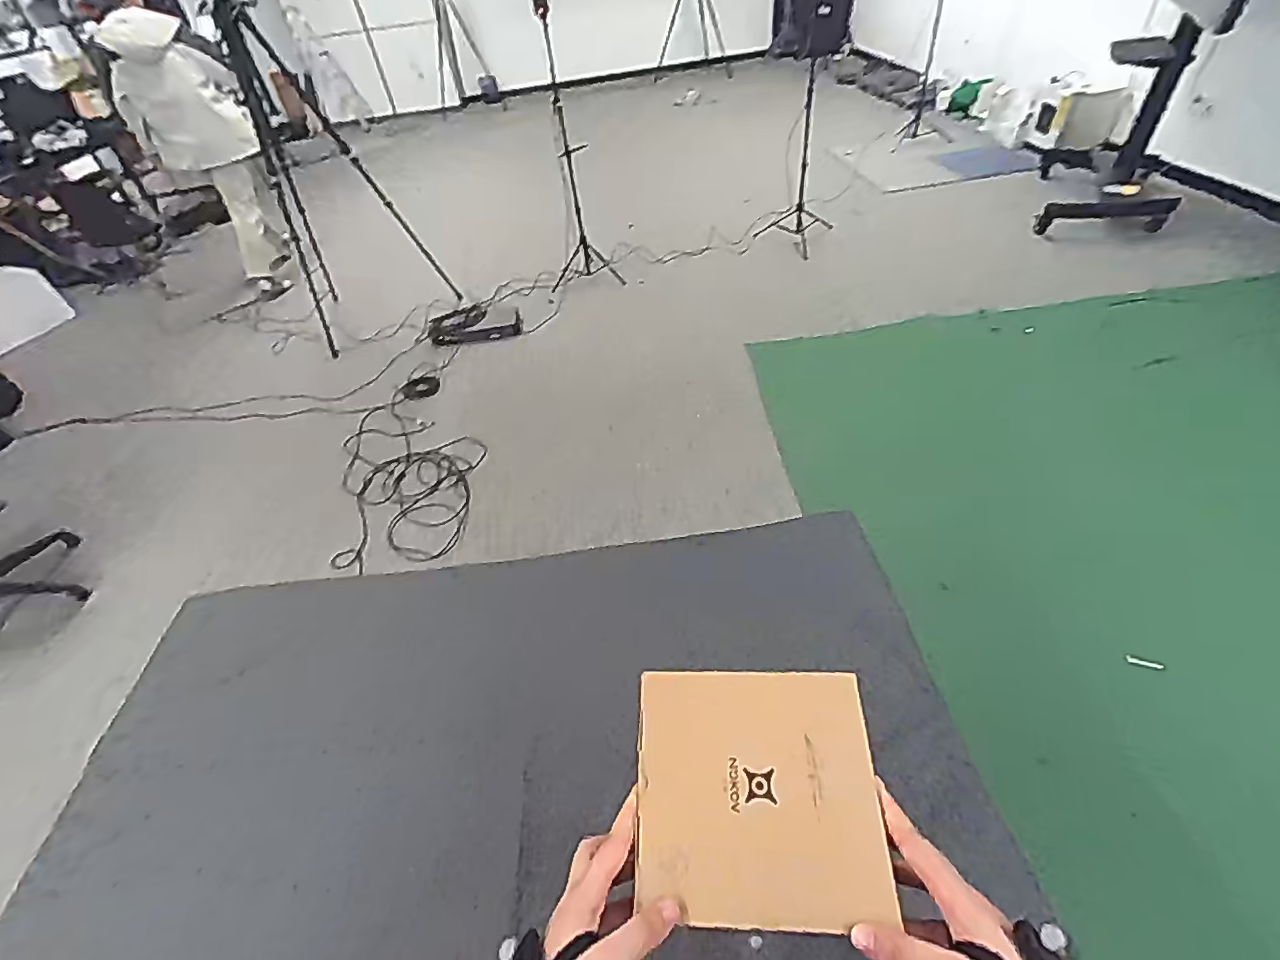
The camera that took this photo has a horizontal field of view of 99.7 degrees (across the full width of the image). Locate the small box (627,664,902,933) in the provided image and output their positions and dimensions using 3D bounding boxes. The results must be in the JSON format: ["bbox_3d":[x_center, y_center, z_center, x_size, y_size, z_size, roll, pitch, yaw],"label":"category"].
[{"bbox_3d":[0.089,0.260,0.453,0.179,0.176,0.168,-2,56,6],"label":"small box"}]
